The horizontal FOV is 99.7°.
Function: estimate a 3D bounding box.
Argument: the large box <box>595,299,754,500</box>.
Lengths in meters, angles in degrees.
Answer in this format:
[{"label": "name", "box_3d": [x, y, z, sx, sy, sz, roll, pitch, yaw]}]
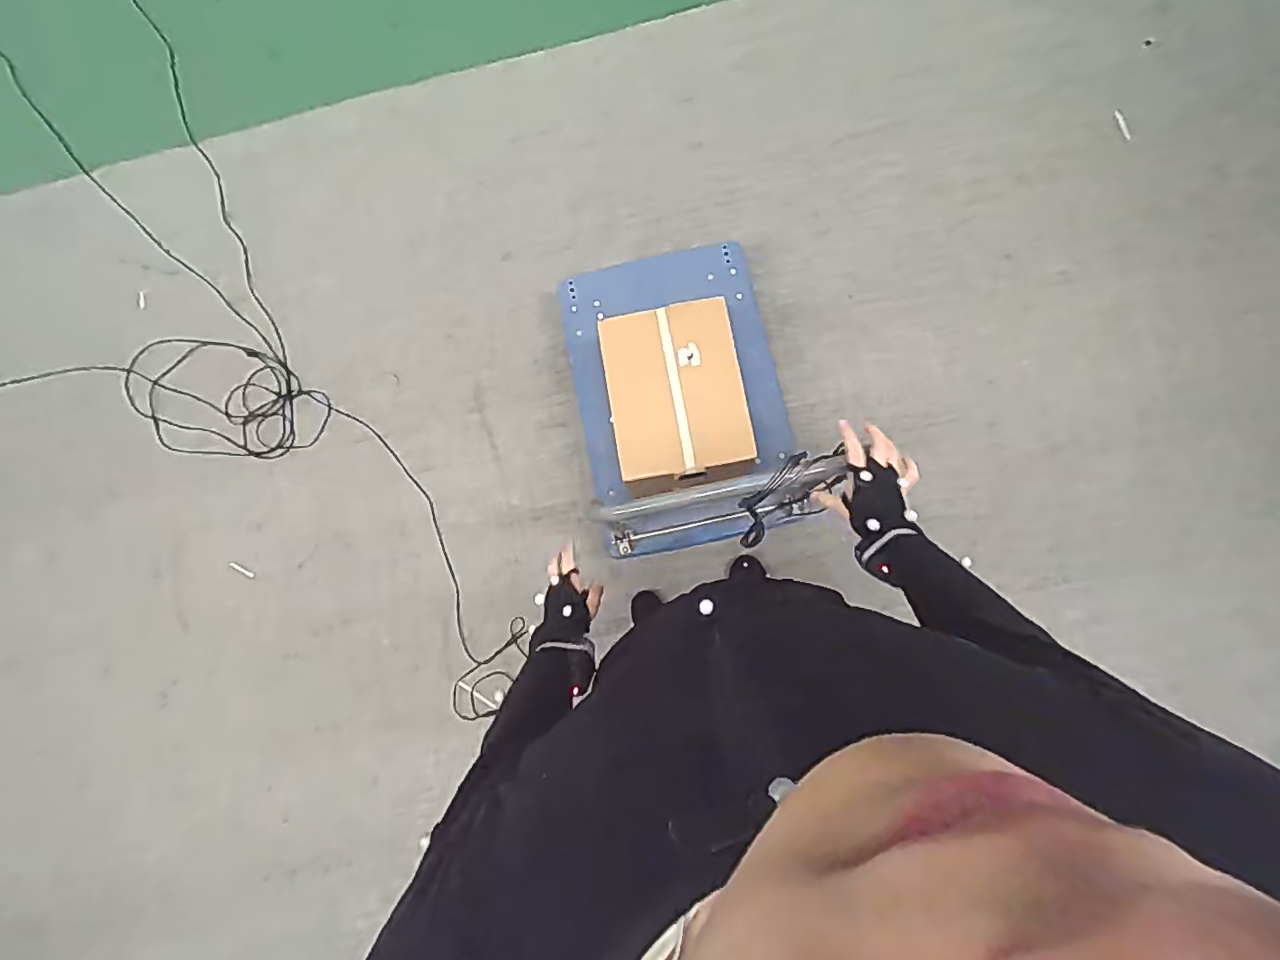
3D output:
[{"label": "large box", "box_3d": [0.088, -0.188, 1.407, 0.320, 0.320, 0.408, -10, 79, 2]}]
